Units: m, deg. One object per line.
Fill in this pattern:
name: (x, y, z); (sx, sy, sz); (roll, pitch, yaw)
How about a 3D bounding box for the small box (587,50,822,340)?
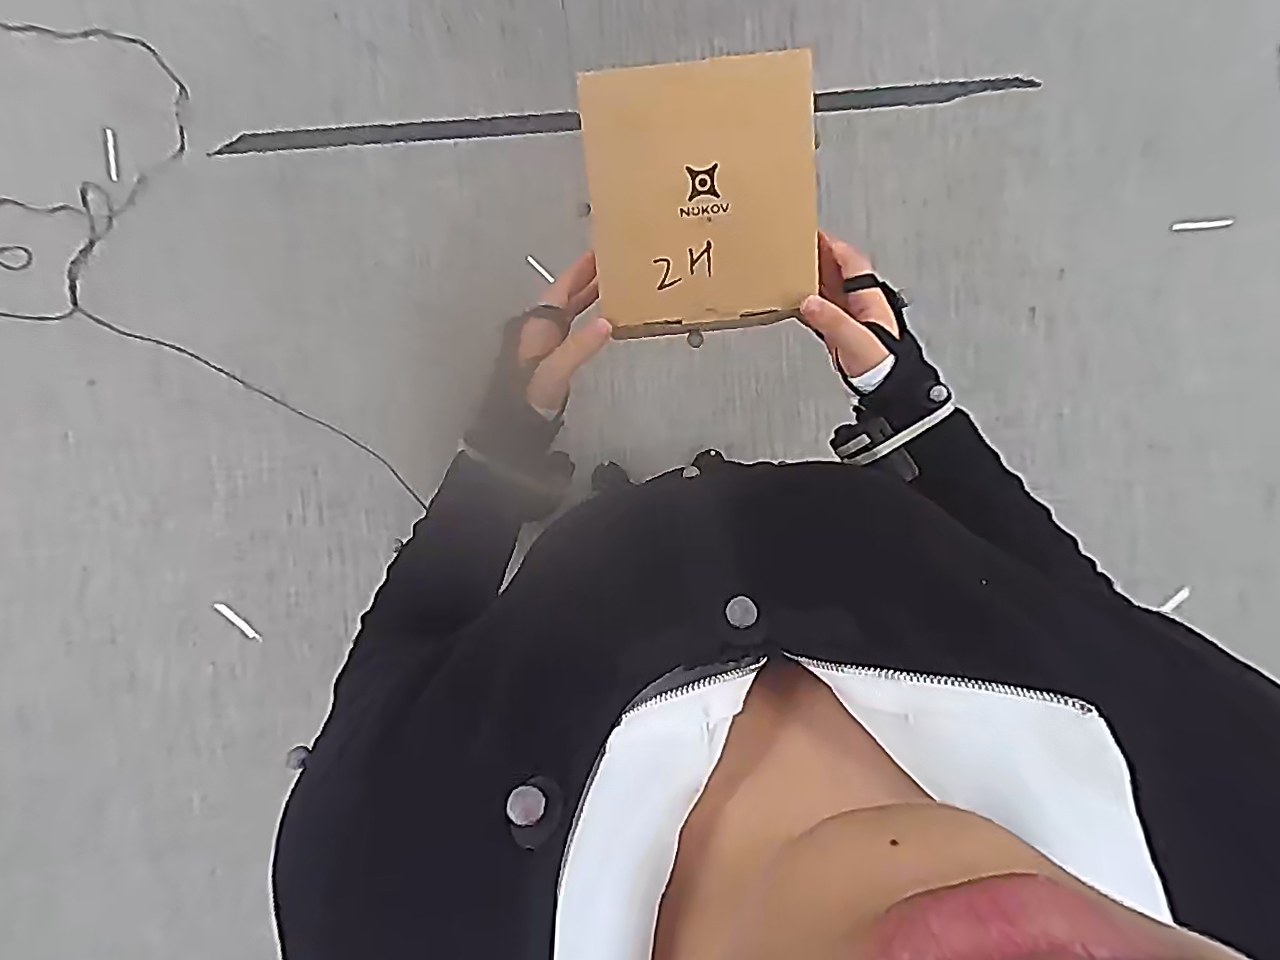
small box: (0.048, -0.223, 0.470); (0.168, 0.176, 0.179); (-5, 101, 1)
